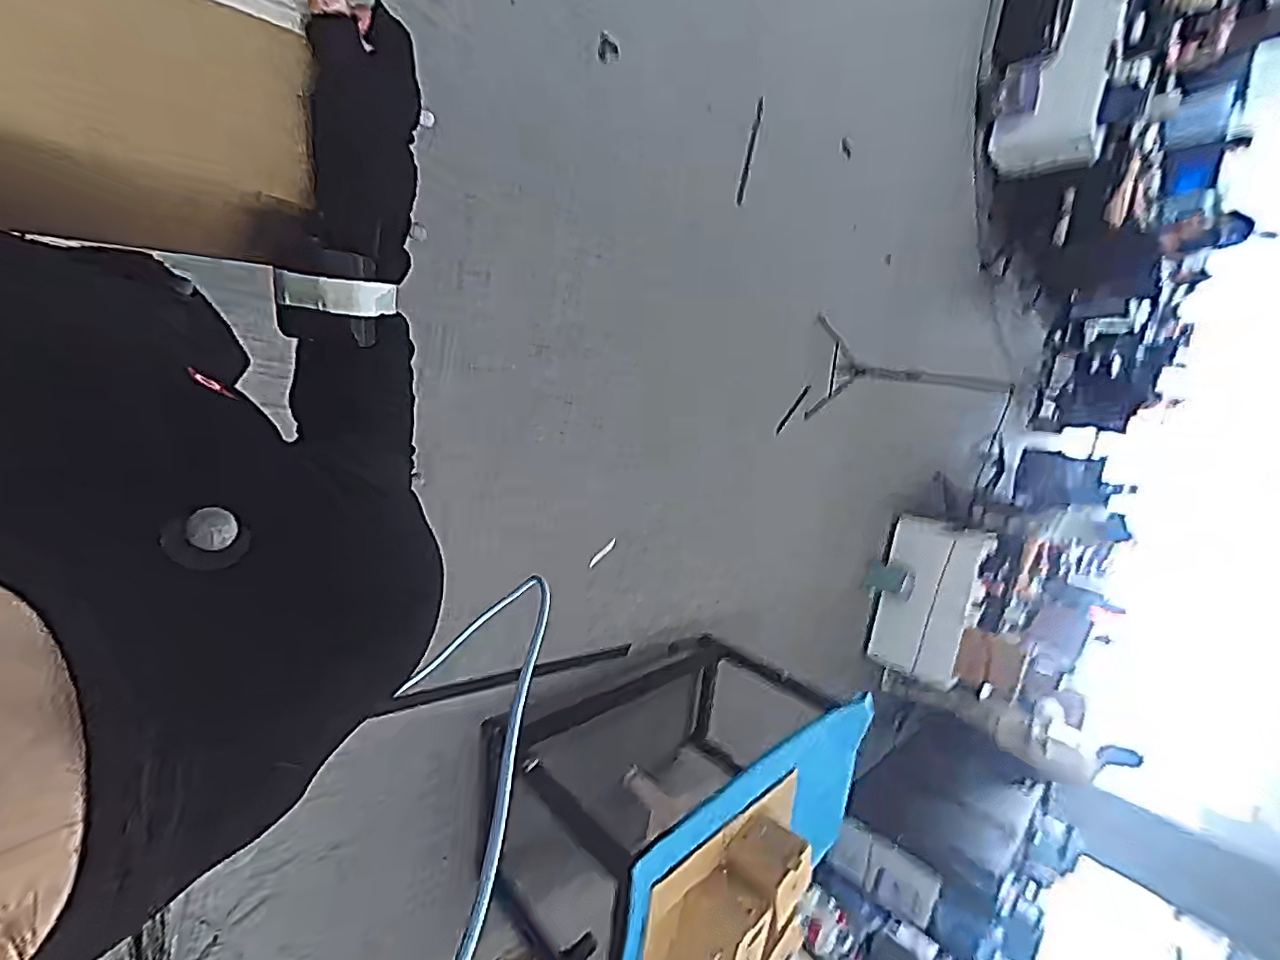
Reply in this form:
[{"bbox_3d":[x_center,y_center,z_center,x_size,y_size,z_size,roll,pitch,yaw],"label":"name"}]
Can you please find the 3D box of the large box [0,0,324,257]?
[{"bbox_3d":[-0.413,-0.349,0.250,0.408,0.320,0.320,-11,143,-45],"label":"large box"}]
